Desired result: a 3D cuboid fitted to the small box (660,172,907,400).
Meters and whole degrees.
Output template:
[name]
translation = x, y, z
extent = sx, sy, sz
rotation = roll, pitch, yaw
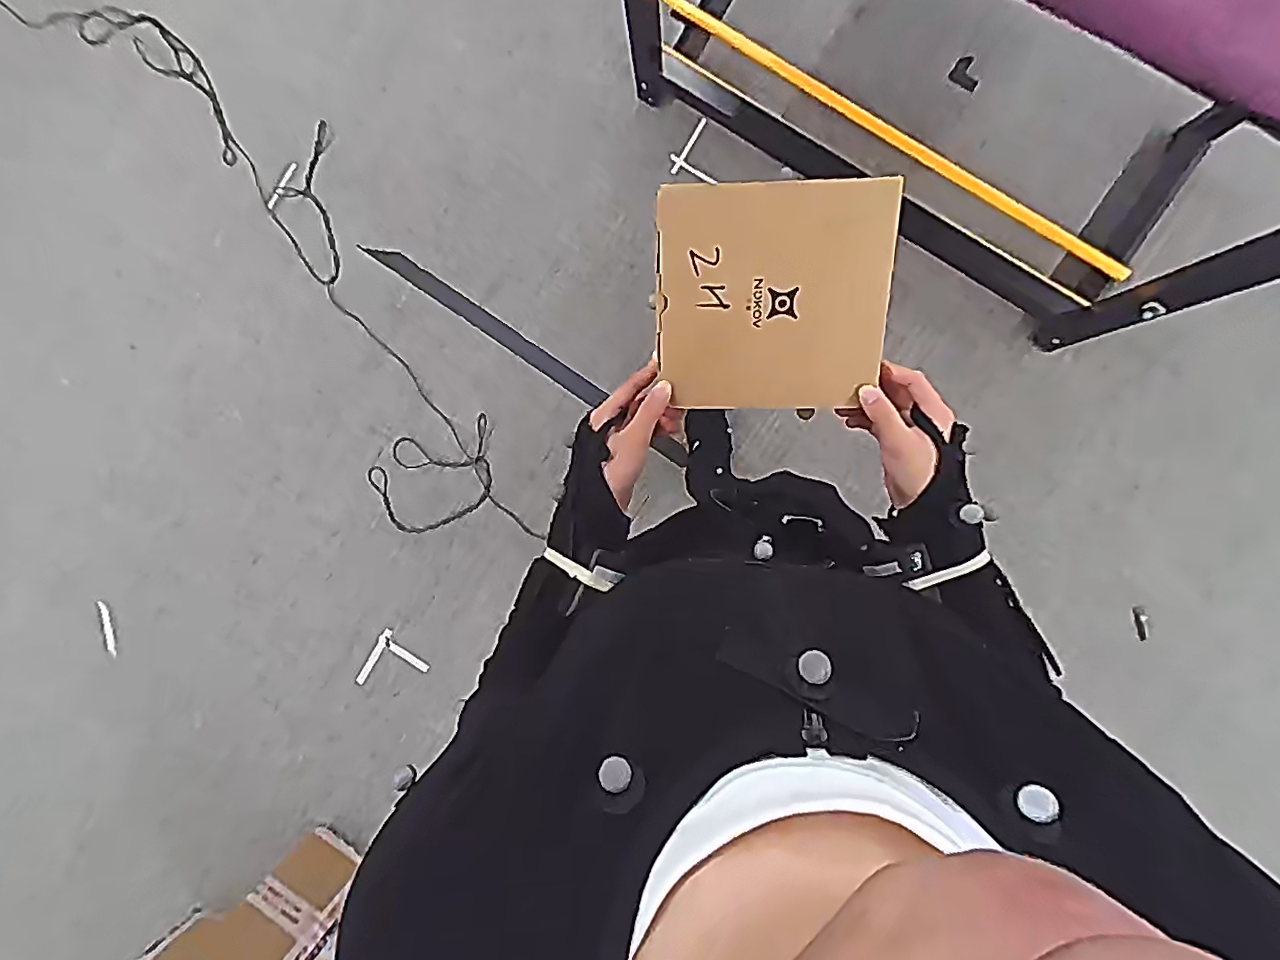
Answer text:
[small box]
translation = 0.109, -0.170, 0.488
extent = 0.179, 0.176, 0.168
rotation = 1, 109, 5
